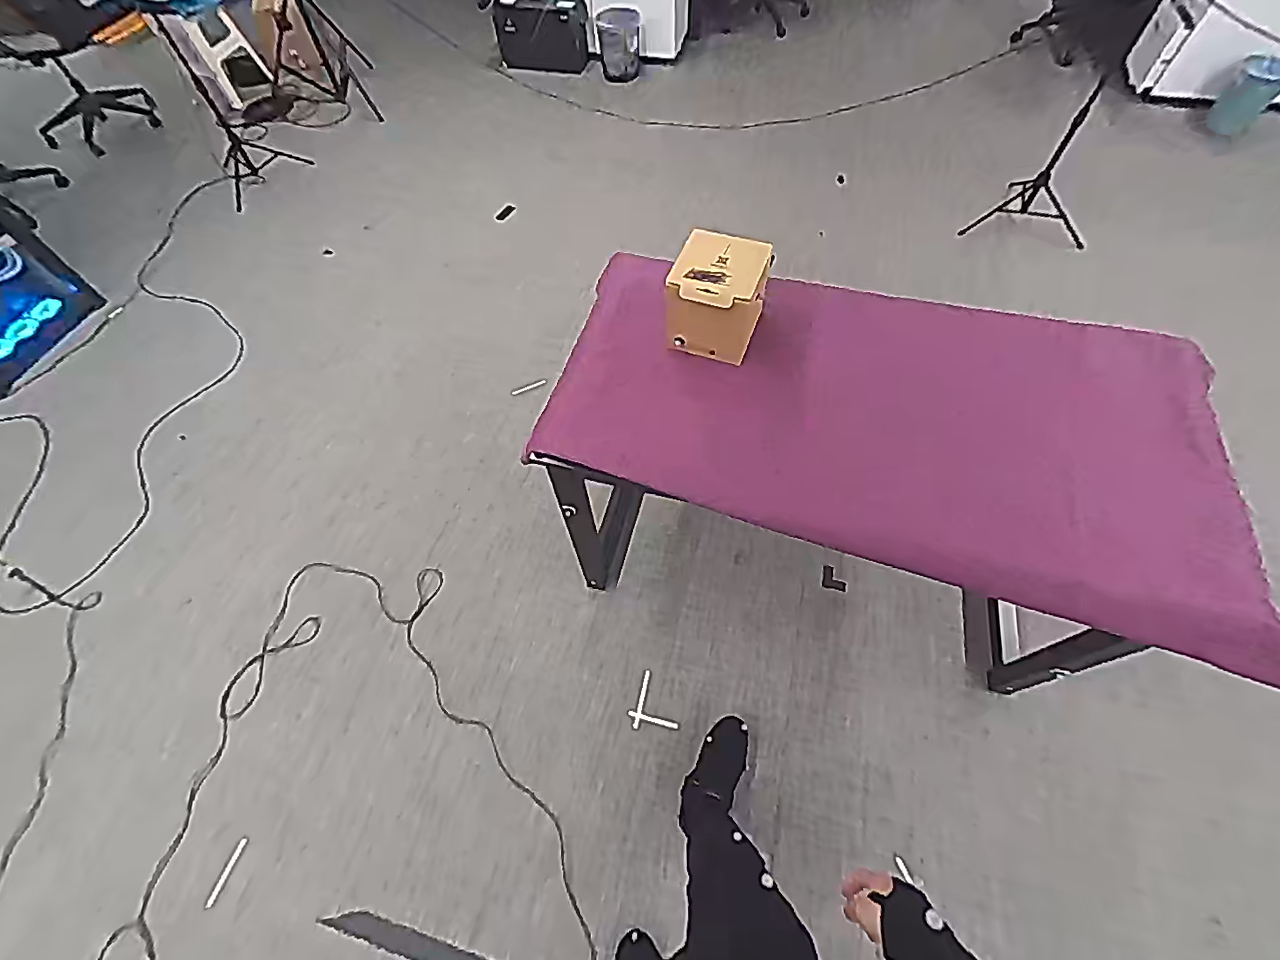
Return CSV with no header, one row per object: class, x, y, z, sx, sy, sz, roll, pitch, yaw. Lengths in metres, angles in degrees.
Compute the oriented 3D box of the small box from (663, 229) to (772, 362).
small box,0.154,-0.367,1.089,0.168,0.176,0.179,18,61,12
